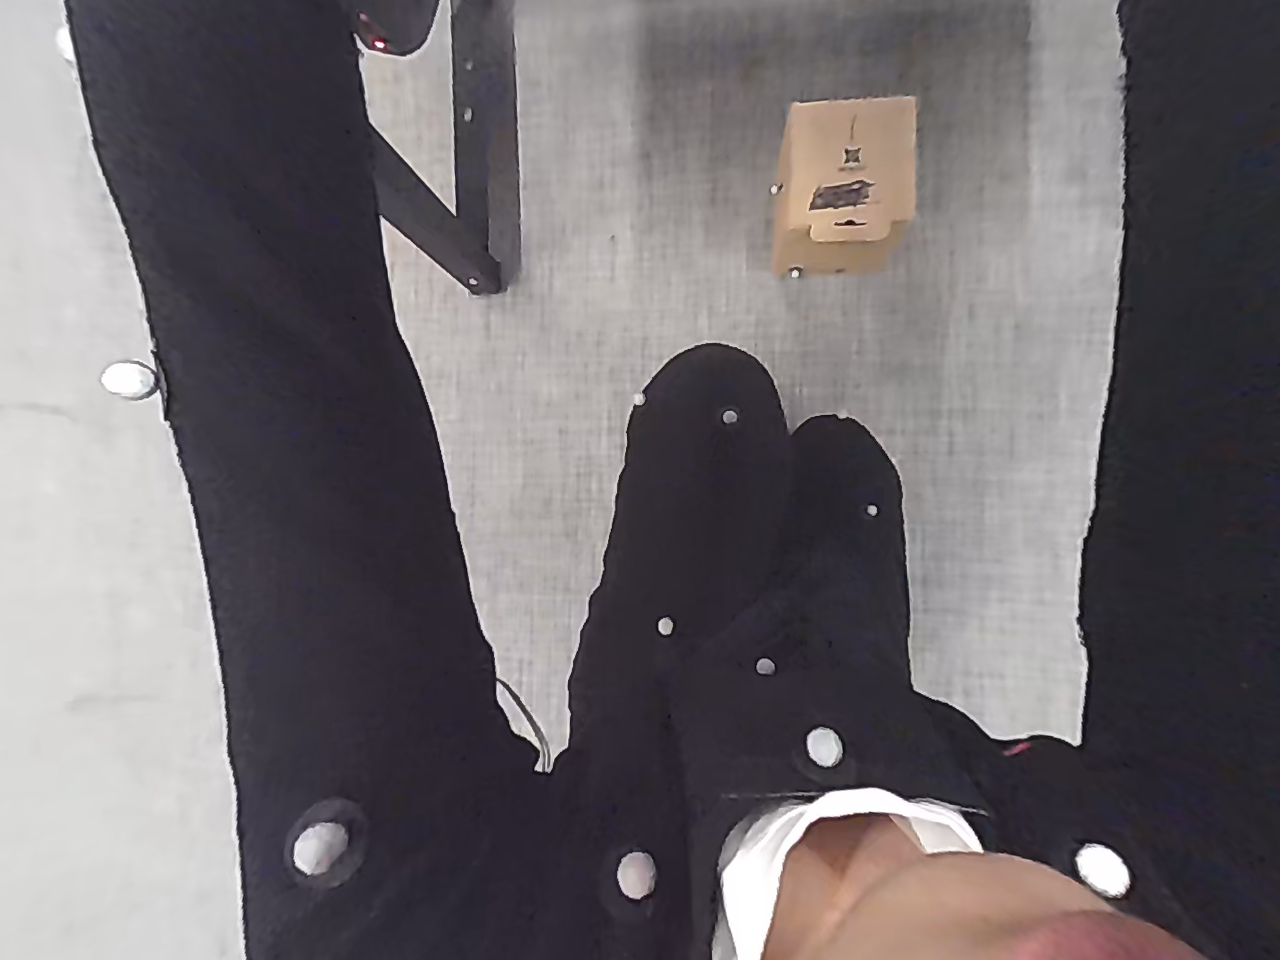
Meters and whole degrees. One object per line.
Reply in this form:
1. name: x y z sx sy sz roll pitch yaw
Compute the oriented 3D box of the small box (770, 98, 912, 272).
1. small box: 0.289 -0.425 0.809 0.168 0.176 0.179 2 88 7
